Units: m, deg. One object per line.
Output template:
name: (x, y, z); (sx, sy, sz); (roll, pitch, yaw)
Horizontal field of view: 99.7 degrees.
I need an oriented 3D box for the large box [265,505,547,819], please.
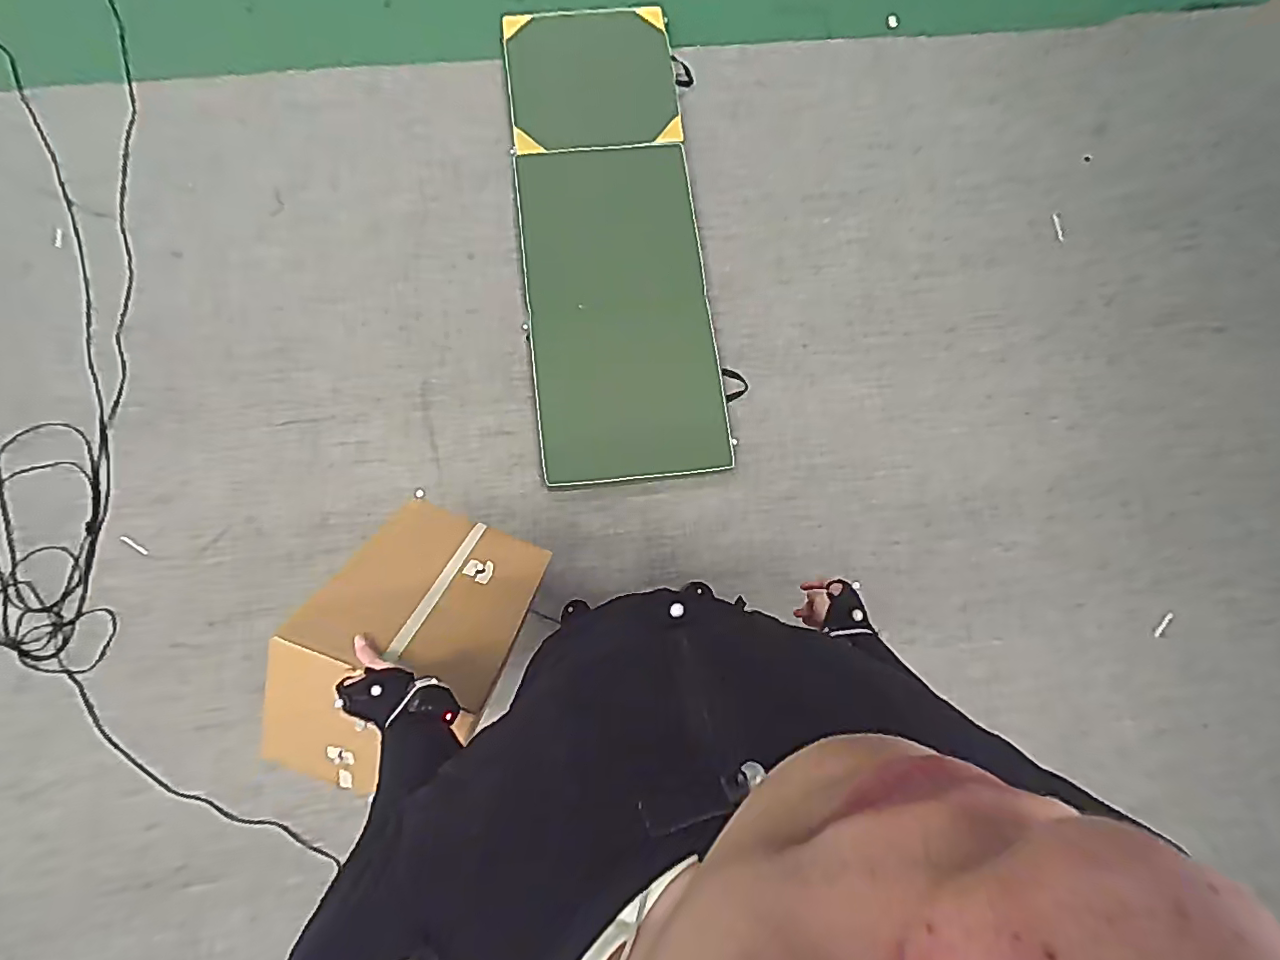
large box: (-0.409, 0.316, 1.008); (0.320, 0.408, 0.320); (24, 117, -5)
